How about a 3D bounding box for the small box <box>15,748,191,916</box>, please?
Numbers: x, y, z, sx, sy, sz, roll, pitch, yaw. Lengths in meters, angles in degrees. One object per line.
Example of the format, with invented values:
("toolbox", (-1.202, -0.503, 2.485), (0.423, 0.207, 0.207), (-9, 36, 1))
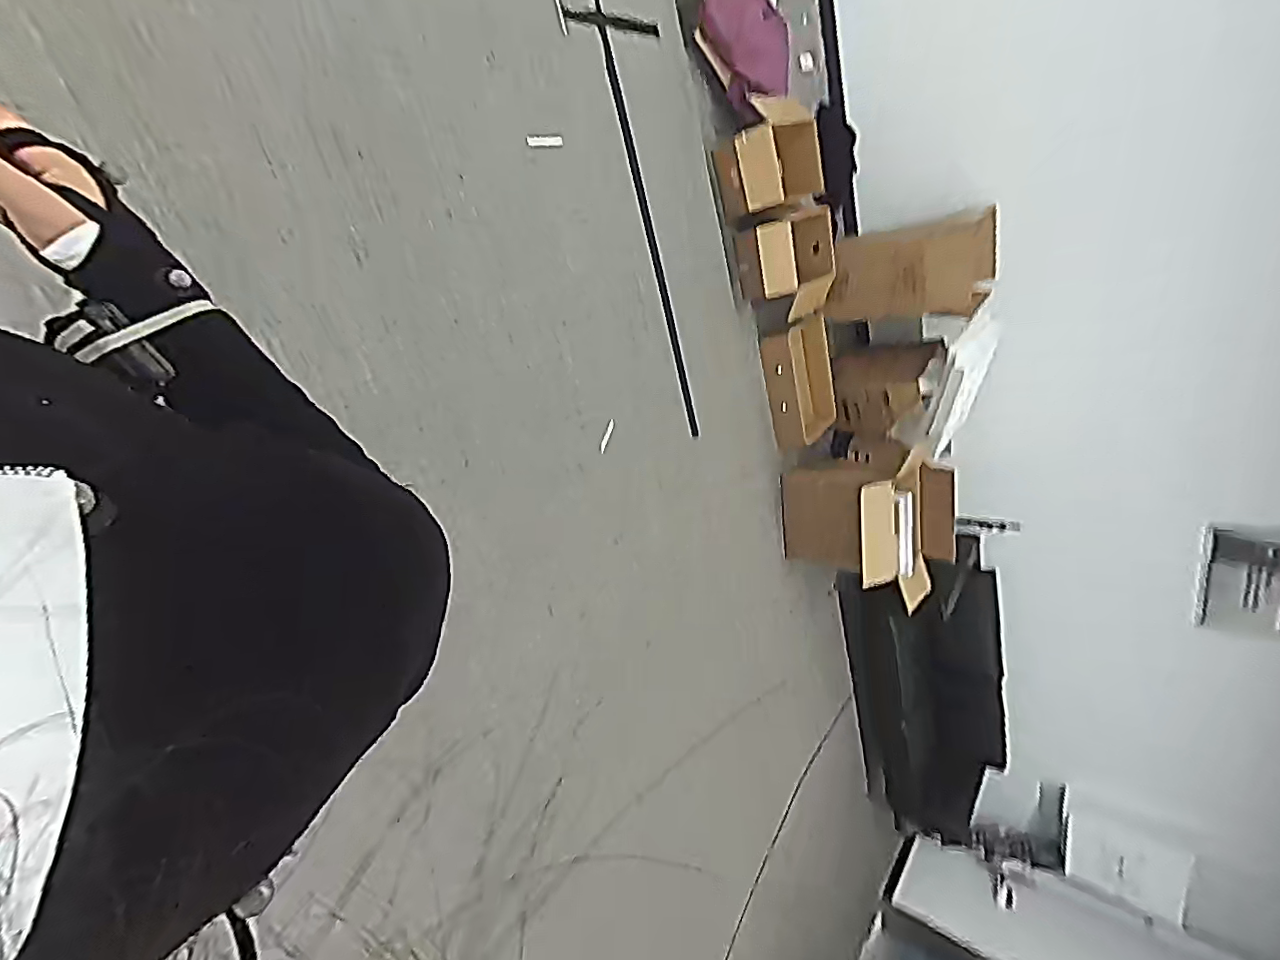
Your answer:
("small box", (-0.975, 0.624, 0.988), (0.168, 0.176, 0.179), (-36, 119, -39))
